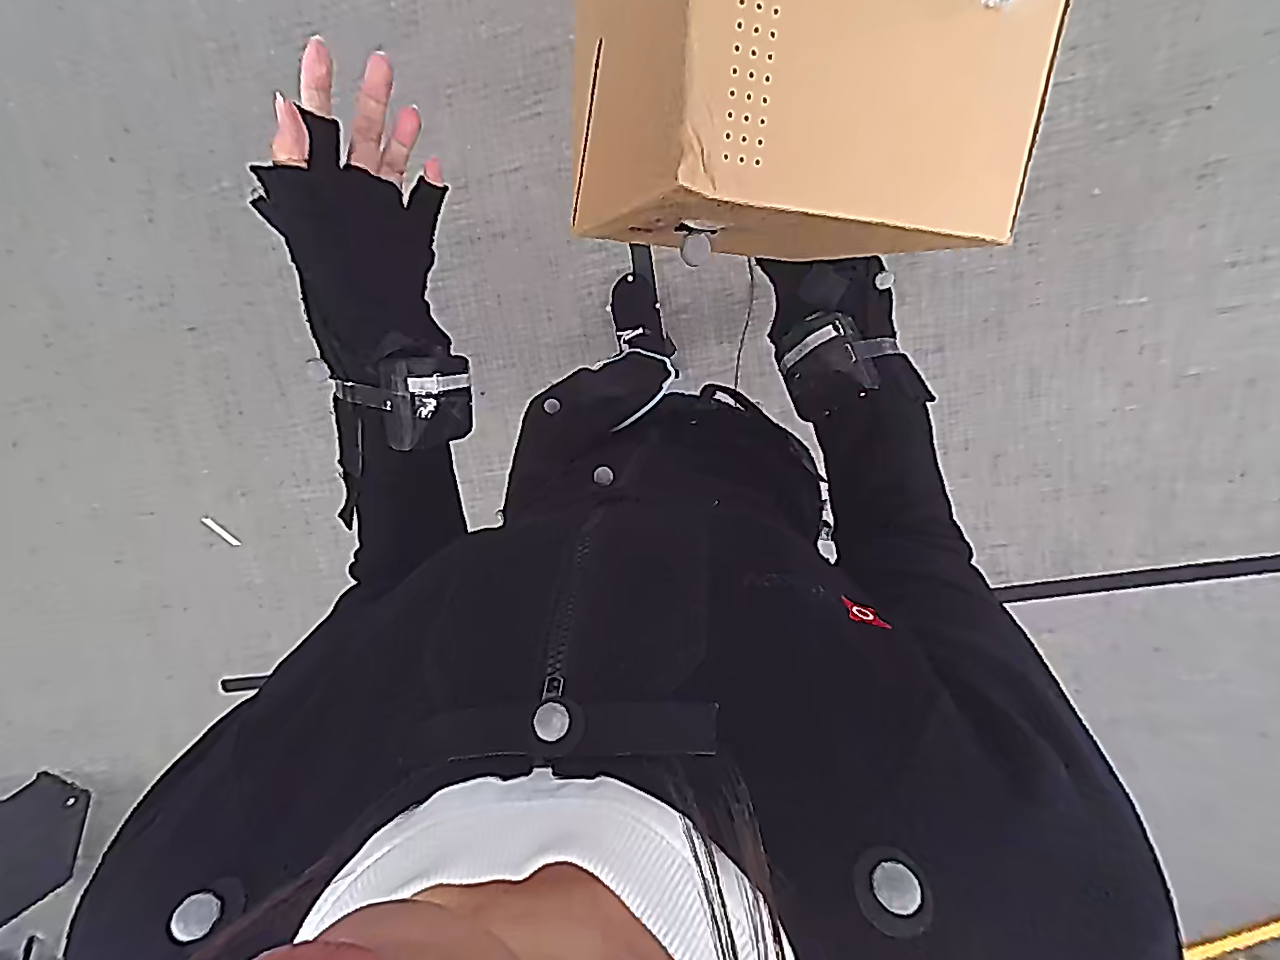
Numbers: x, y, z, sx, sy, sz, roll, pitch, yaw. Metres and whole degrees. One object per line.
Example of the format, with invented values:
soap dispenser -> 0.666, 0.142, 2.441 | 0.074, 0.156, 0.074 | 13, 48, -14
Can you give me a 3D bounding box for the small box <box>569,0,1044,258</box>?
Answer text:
small box -> 0.063, -0.217, 0.271 | 0.176, 0.168, 0.179 | -2, 108, -19
